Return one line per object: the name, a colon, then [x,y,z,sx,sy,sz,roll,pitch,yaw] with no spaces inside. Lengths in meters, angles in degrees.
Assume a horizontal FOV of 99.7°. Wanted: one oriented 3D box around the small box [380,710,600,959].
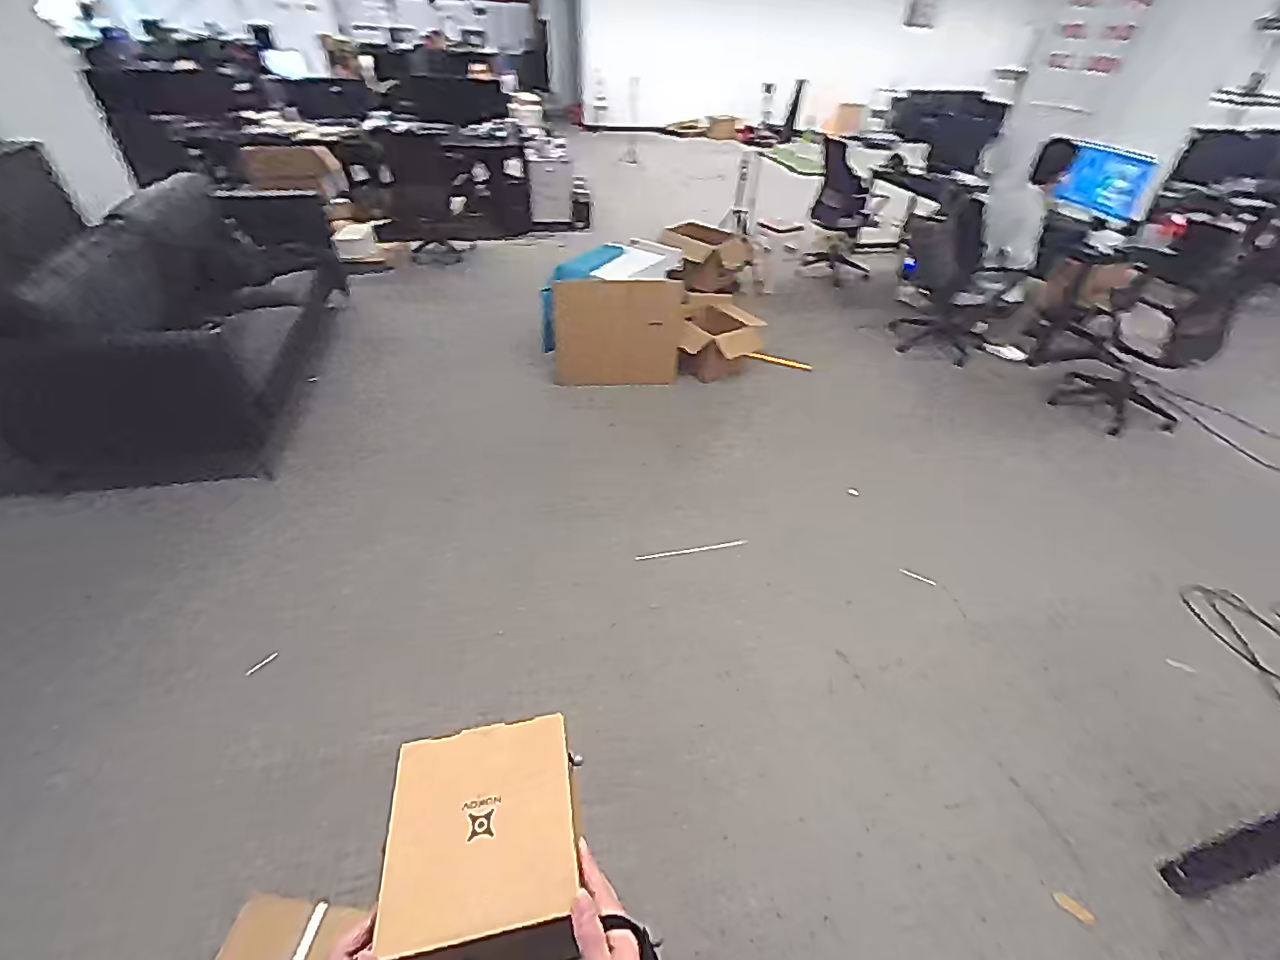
small box: [-0.135,0.366,0.540,0.168,0.176,0.179,-8,38,-8]
